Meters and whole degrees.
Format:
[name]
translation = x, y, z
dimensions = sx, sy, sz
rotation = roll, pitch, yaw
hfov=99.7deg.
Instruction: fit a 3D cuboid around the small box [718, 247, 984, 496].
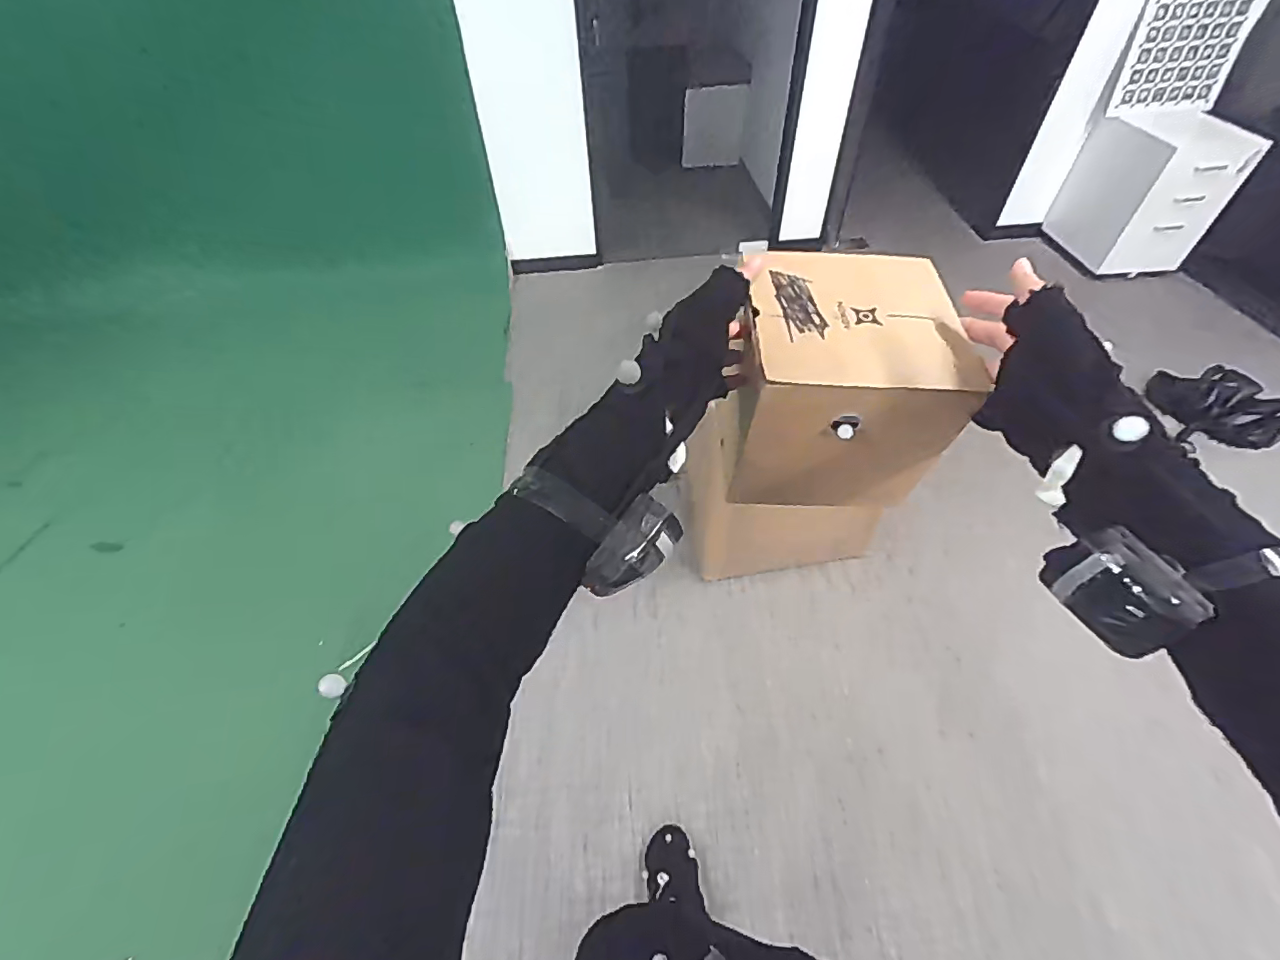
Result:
[small box]
translation = 0.172, -0.096, 0.515
dimensions = 0.179, 0.176, 0.168
rotation = 2, 56, -2
